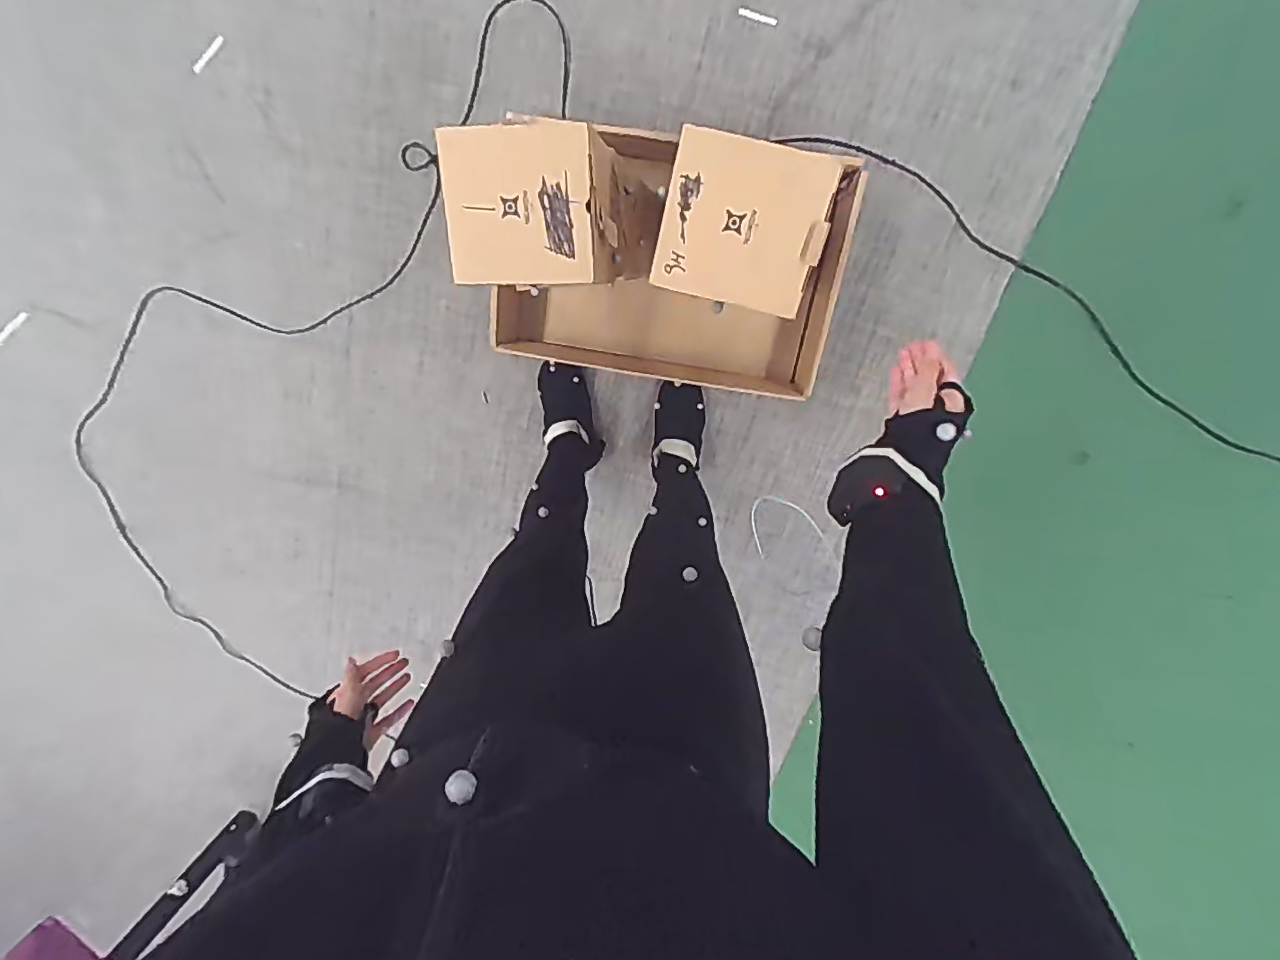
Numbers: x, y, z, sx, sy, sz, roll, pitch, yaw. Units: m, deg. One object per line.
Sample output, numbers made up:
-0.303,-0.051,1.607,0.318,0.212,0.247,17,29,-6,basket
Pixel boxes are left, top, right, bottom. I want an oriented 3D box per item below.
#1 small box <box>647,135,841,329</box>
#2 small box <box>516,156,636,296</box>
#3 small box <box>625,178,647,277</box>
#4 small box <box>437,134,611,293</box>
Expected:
0.119,-0.296,0.668,0.179,0.176,0.168,15,110,2,small box
-0.103,-0.387,0.845,0.179,0.176,0.168,-5,110,9,small box
-0.090,-0.460,0.991,0.179,0.176,0.168,10,111,2,small box
-0.132,-0.330,0.694,0.179,0.176,0.168,2,111,7,small box
